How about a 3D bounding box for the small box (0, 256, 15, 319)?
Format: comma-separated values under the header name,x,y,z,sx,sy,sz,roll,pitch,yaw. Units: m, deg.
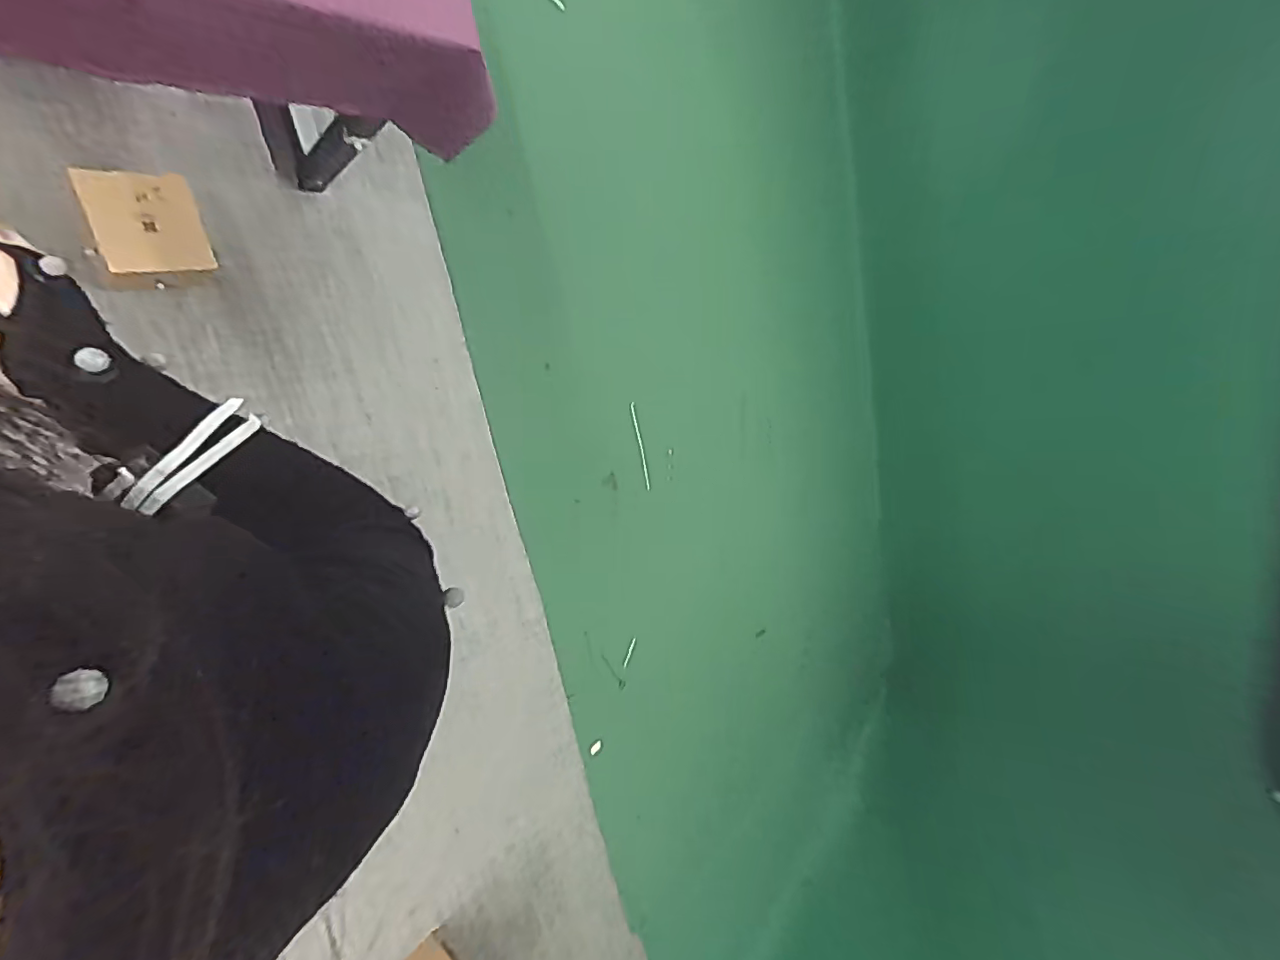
name,x,y,z,sx,sy,sz,roll,pitch,yaw
small box,-0.550,-0.190,0.339,0.168,0.176,0.179,-19,110,-40
